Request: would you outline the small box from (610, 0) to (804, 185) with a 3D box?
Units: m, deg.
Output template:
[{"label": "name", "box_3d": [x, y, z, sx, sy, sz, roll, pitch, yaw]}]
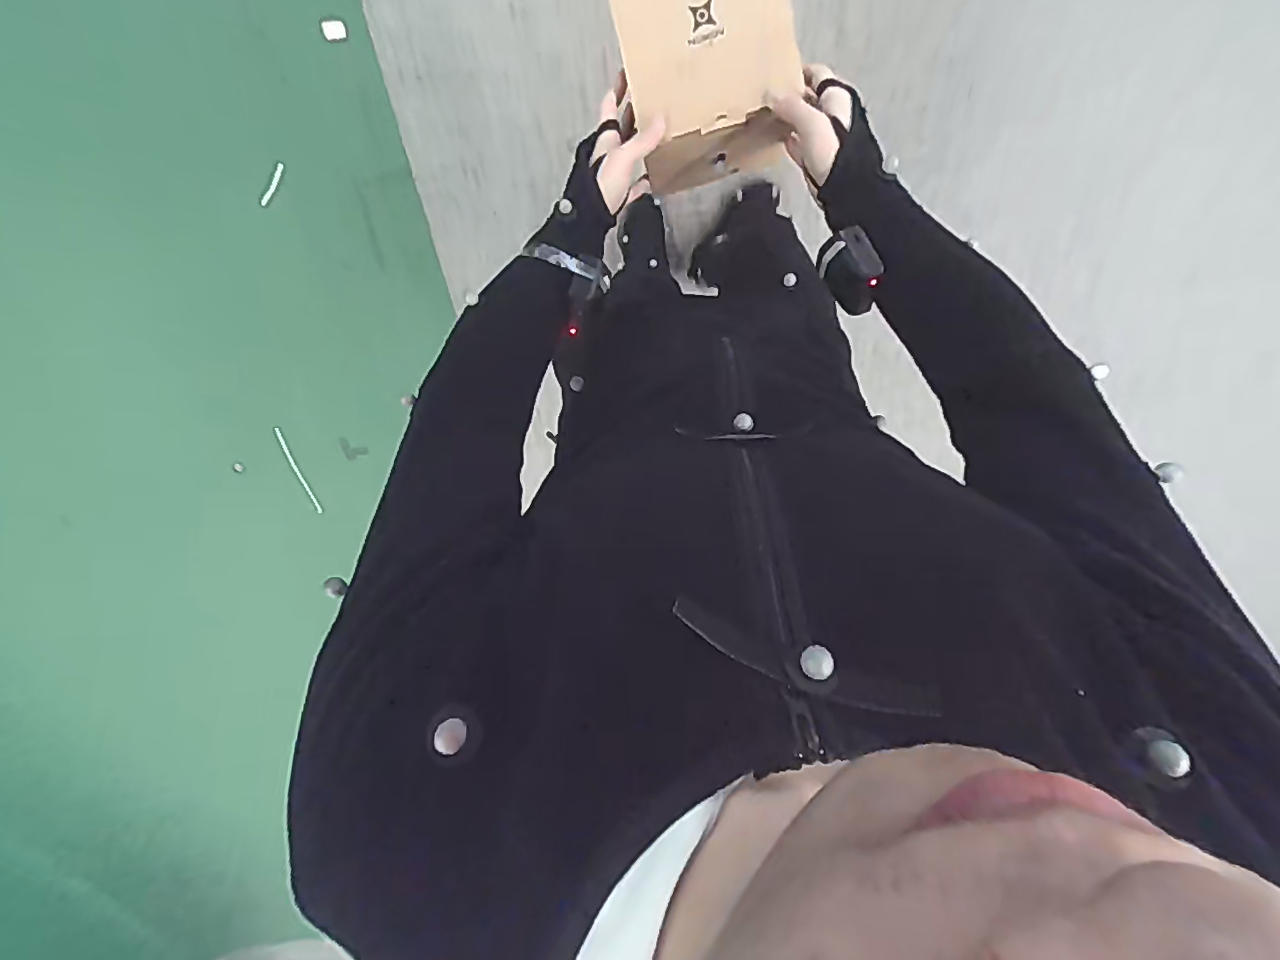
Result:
[{"label": "small box", "box_3d": [0.071, -0.448, 0.593, 0.168, 0.176, 0.179, -13, 101, 9]}]
